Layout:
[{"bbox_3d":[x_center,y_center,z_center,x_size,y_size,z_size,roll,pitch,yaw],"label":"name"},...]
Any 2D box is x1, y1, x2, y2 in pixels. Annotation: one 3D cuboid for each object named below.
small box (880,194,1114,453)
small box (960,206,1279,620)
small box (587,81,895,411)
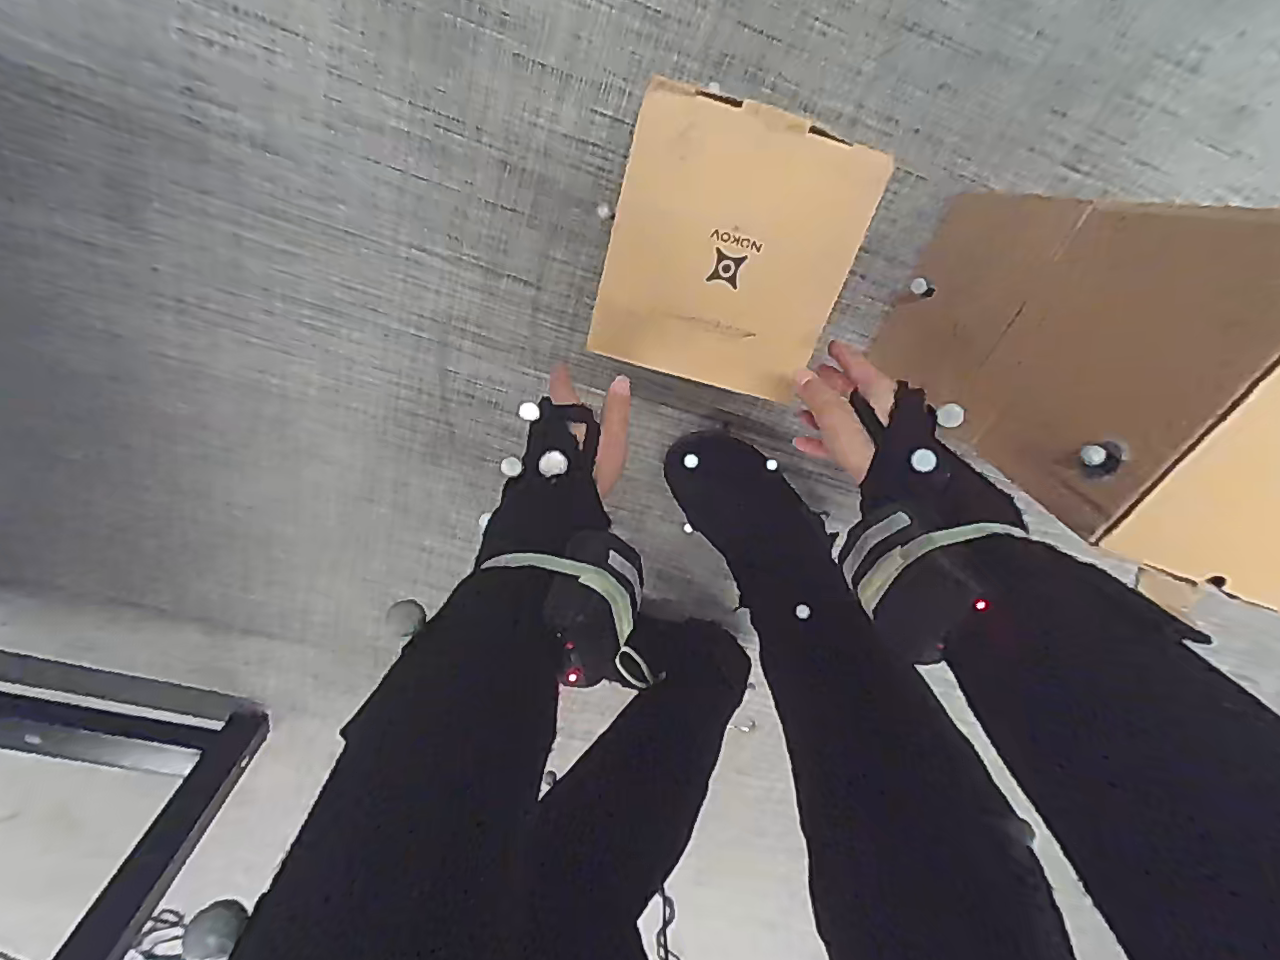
[{"bbox_3d":[0.339,-0.125,0.469,0.168,0.176,0.179,17,119,-10],"label":"small box"},{"bbox_3d":[0.342,-0.046,0.326,0.168,0.176,0.179,19,117,-11],"label":"small box"},{"bbox_3d":[0.061,-0.183,0.437,0.168,0.176,0.179,14,119,-6],"label":"small box"}]
